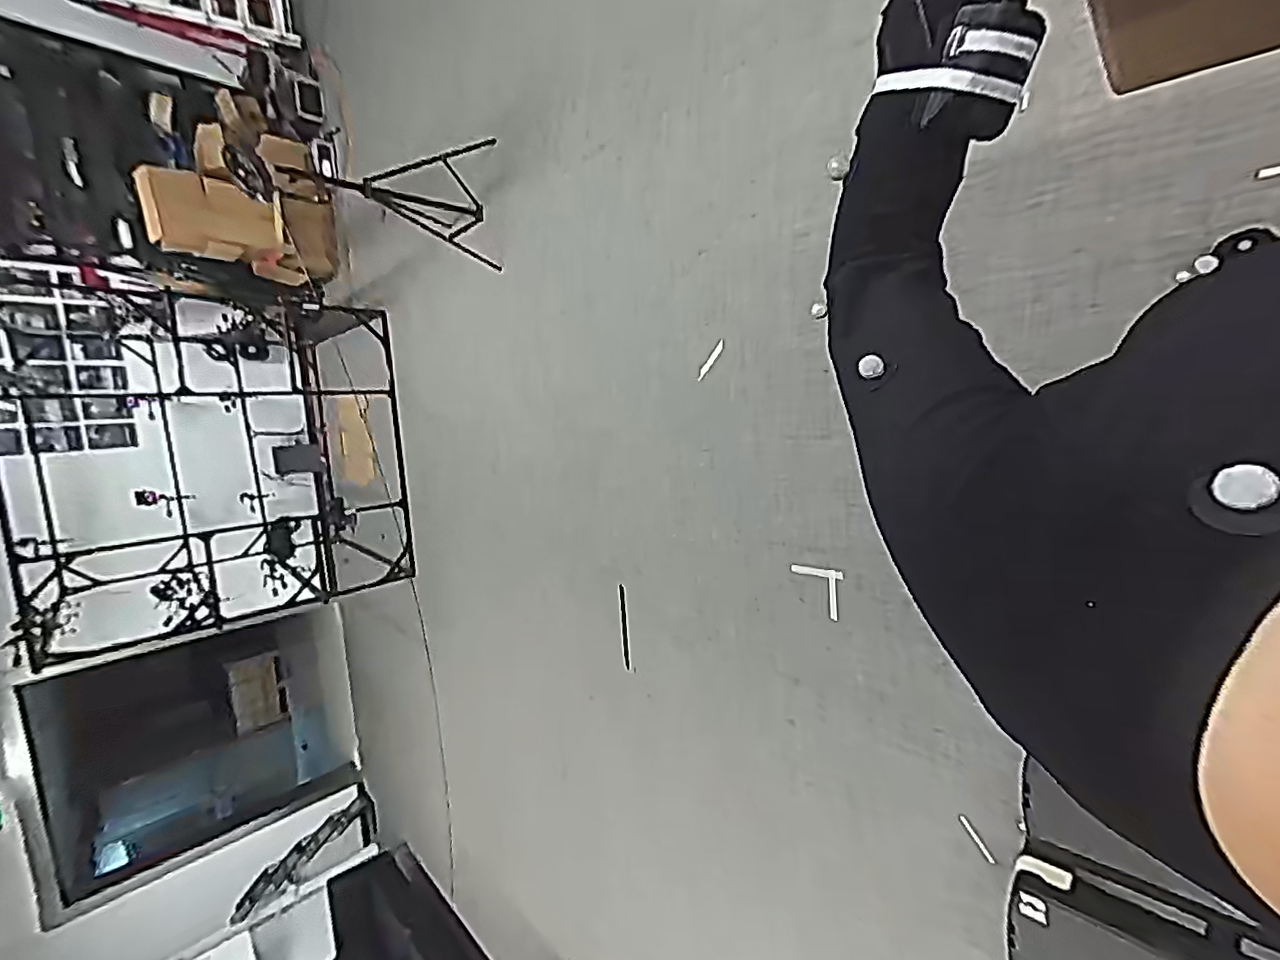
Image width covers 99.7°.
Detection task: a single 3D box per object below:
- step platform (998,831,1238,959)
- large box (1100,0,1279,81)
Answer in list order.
[{"bbox_3d":[1.126,1.026,1.079,0.684,0.204,0.286,2,98,48],"label":"step platform"},{"bbox_3d":[0.473,-0.475,0.239,0.408,0.320,0.320,7,106,43],"label":"large box"}]
